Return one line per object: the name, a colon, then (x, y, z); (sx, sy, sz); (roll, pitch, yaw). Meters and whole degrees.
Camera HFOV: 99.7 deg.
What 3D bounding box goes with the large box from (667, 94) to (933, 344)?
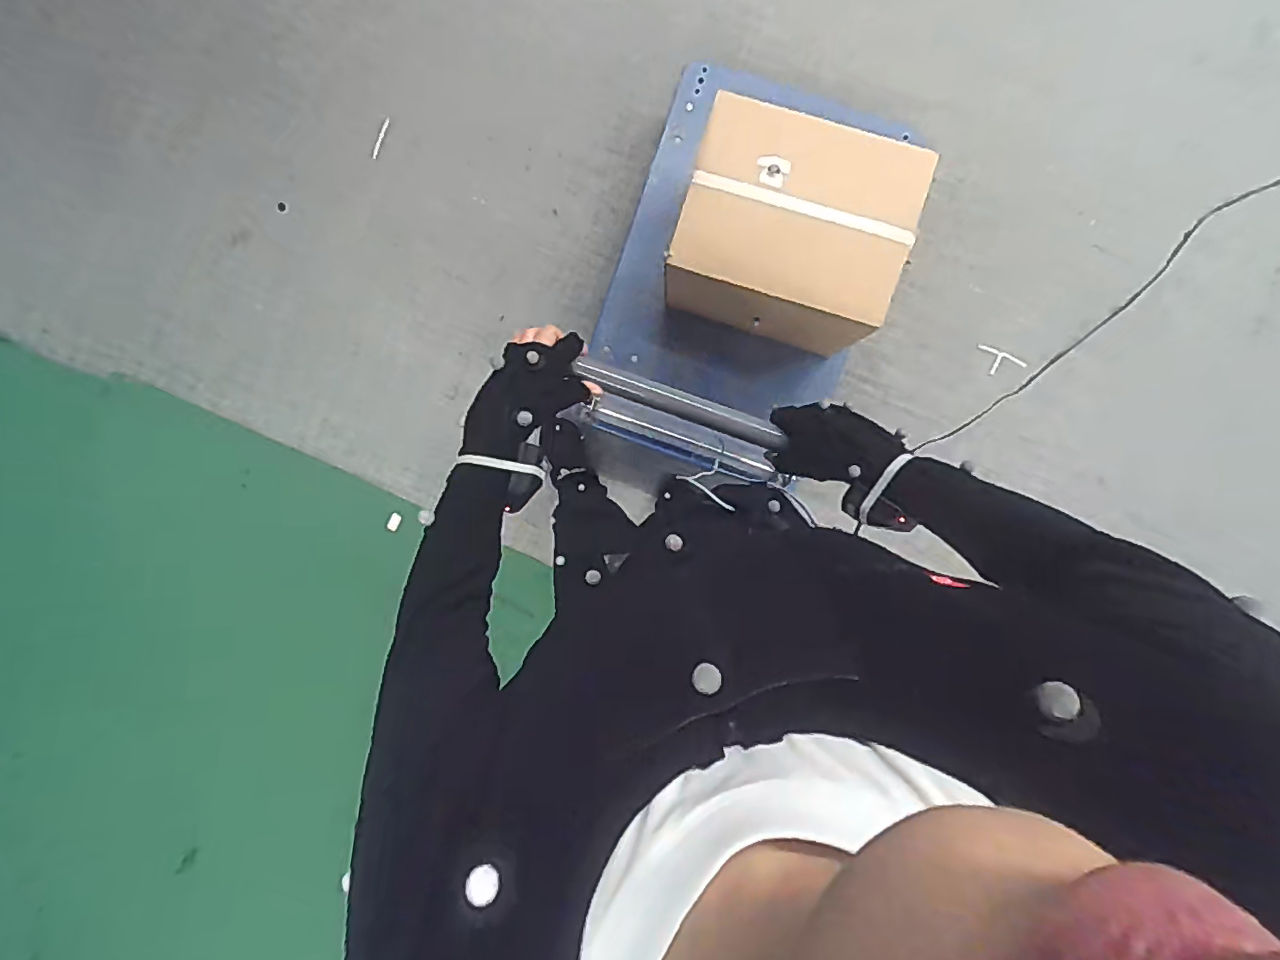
large box: (0.294, -0.500, 1.110); (0.408, 0.320, 0.320); (17, 94, 3)
